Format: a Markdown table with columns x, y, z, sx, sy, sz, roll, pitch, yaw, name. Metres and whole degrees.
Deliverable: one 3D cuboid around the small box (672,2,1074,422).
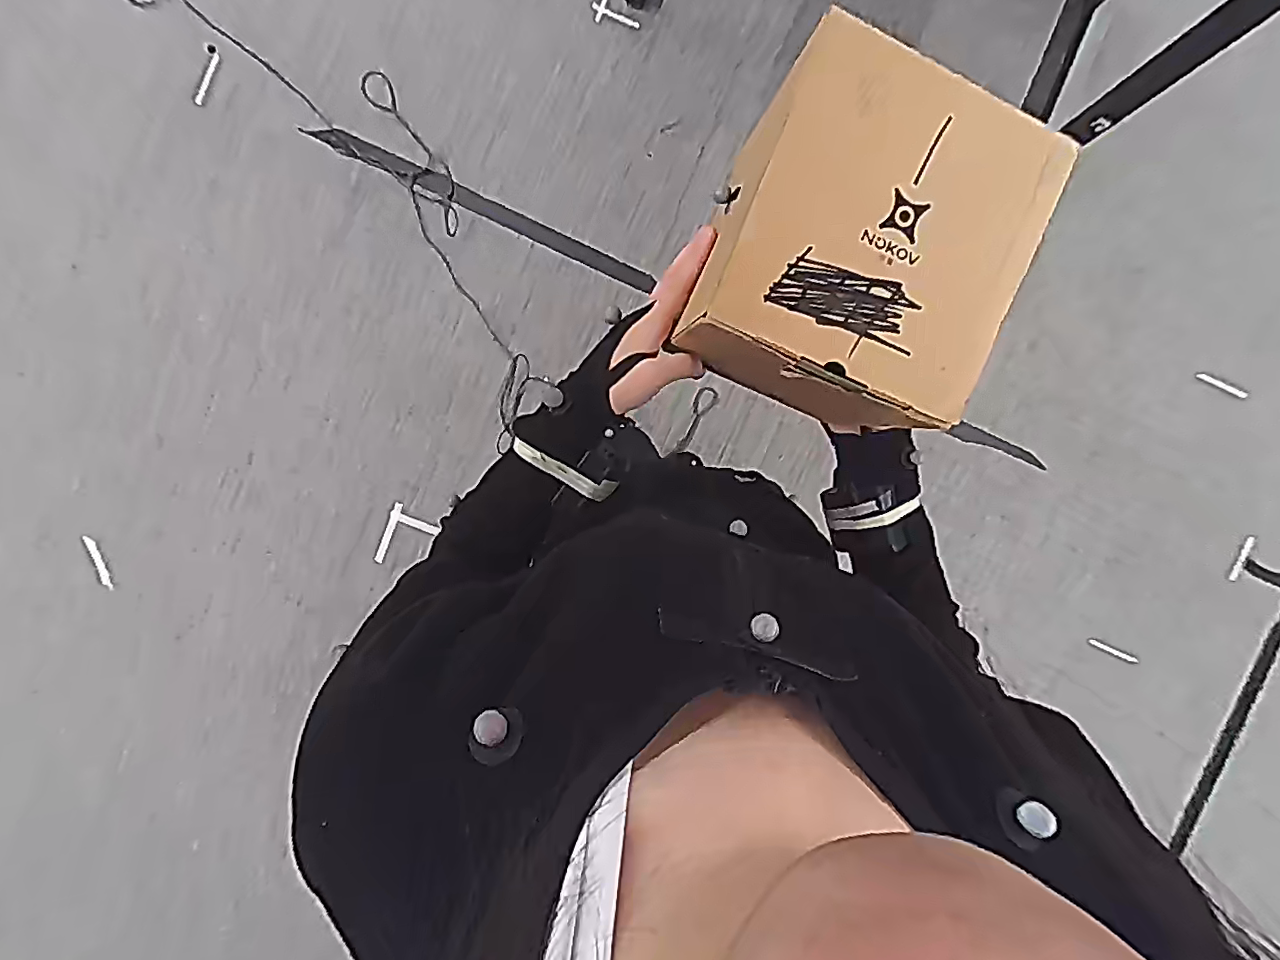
| x | y | z | sx | sy | sz | roll | pitch | yaw | name |
| --- | --- | --- | --- | --- | --- | --- | --- | --- | --- |
| 0.132 | -0.152 | 0.379 | 0.168 | 0.176 | 0.179 | 22 | 94 | -9 | small box |
